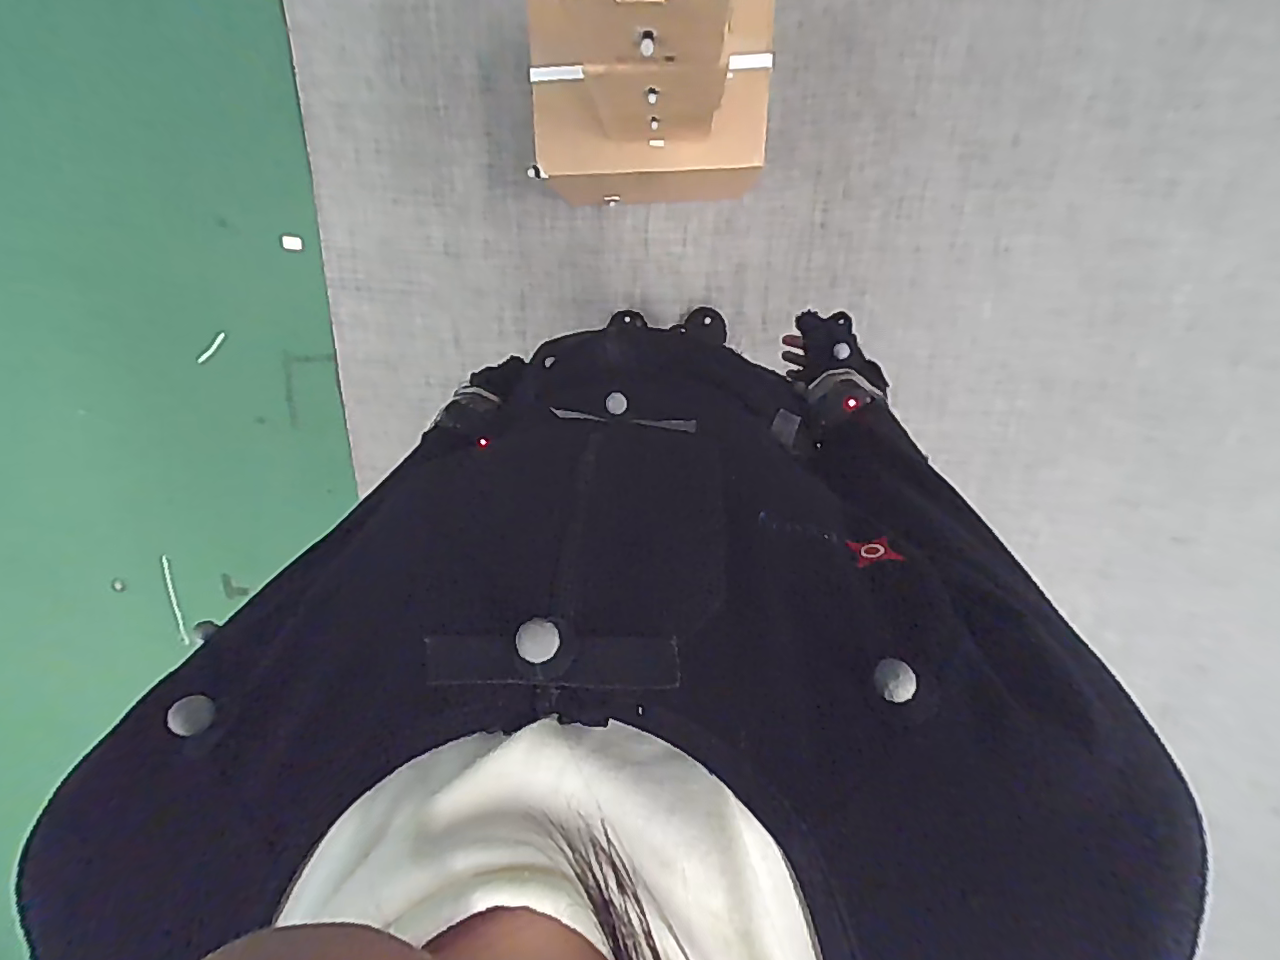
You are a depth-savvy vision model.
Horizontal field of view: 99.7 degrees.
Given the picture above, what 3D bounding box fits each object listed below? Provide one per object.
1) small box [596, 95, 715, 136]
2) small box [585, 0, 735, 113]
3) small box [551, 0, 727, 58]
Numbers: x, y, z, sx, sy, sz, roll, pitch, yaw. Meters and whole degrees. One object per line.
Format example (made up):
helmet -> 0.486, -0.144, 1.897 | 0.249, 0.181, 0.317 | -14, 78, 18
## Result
small box -> 0.029, -0.646, 0.834 | 0.179, 0.176, 0.168 | 2, 110, 3
small box -> 0.023, -0.586, 0.682 | 0.179, 0.176, 0.168 | -2, 110, 5
small box -> 0.008, -0.541, 0.525 | 0.168, 0.176, 0.179 | 4, 110, 4
